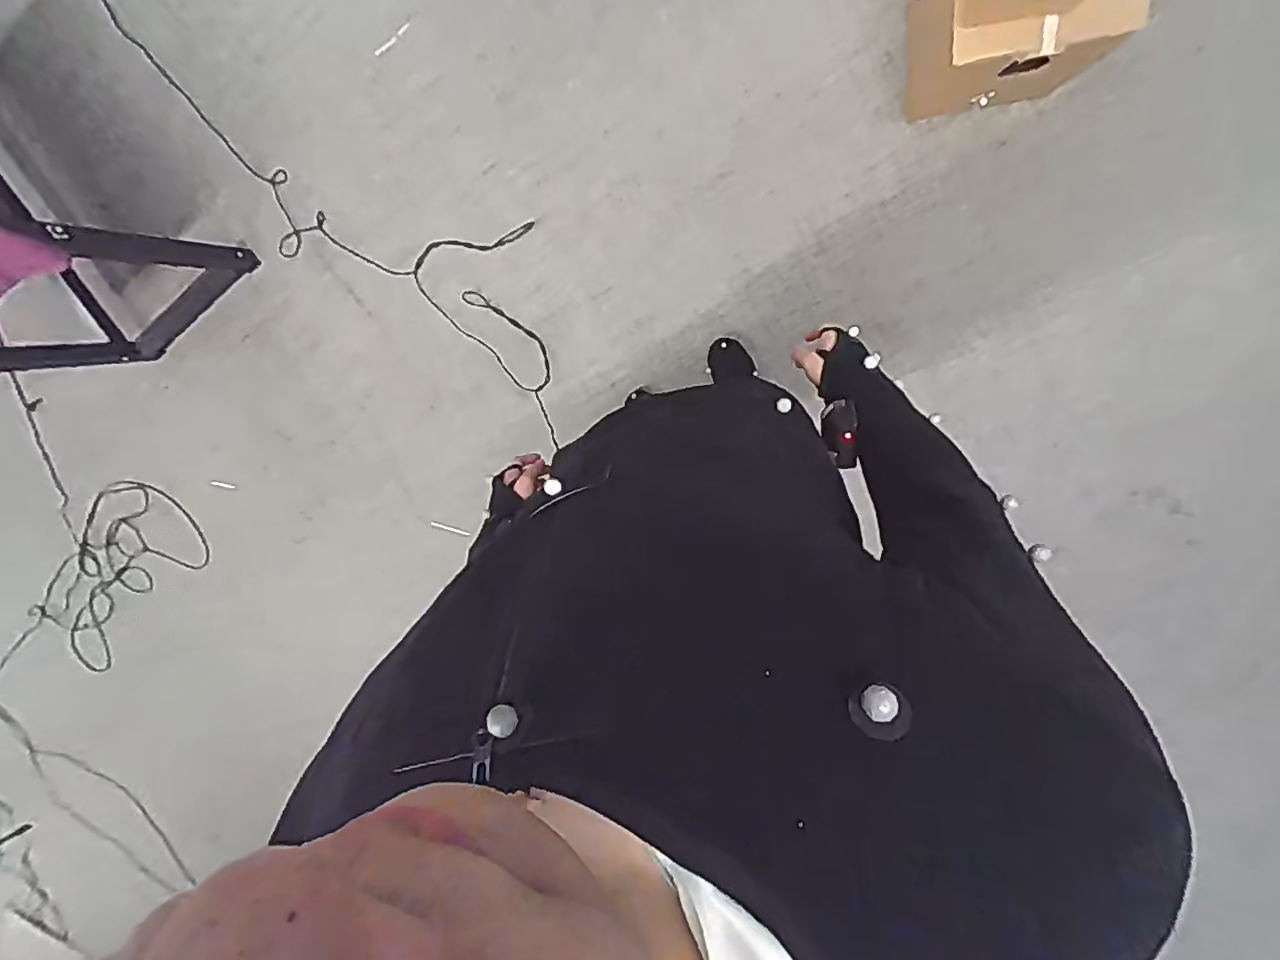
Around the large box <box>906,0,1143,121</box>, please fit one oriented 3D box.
[{"bbox_3d":[0.729,-1.013,1.068,0.320,0.320,0.408,-4,105,11],"label":"large box"}]

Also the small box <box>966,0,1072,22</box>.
[{"bbox_3d":[0.649,-0.876,0.864,0.179,0.176,0.168,0,107,11],"label":"small box"}]
